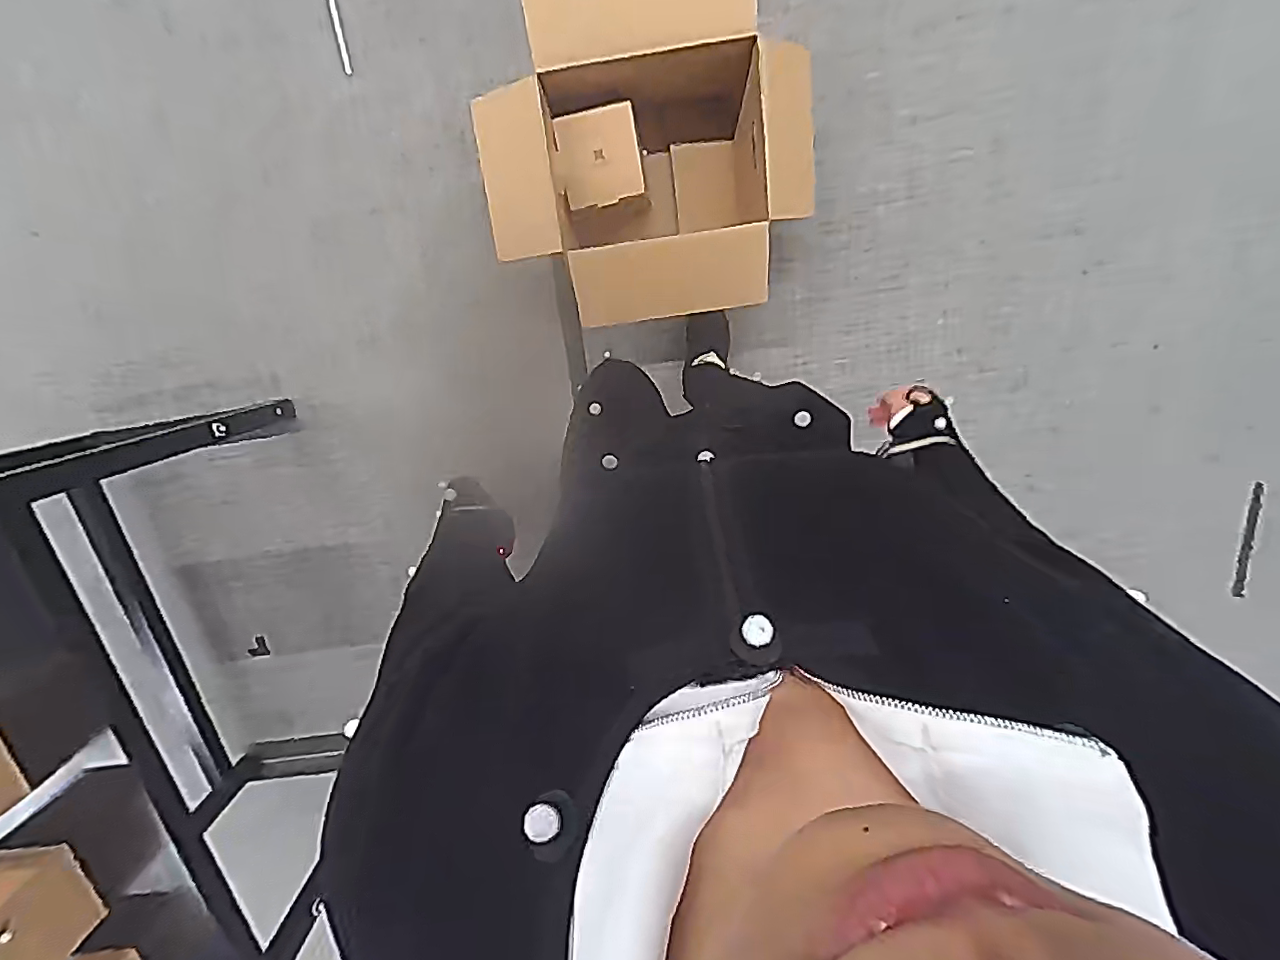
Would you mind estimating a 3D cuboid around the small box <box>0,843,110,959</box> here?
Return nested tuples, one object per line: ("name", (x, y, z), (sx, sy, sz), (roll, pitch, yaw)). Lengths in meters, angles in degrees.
("small box", (-1.095, 0.761, 0.931), (0.168, 0.176, 0.179), (-8, 107, 4))

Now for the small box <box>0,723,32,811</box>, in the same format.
("small box", (-1.138, 0.484, 0.843), (0.168, 0.176, 0.179), (-6, 109, 3))

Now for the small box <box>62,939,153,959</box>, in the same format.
("small box", (-1.054, 1.012, 1.013), (0.179, 0.176, 0.168), (-10, 108, 3))
